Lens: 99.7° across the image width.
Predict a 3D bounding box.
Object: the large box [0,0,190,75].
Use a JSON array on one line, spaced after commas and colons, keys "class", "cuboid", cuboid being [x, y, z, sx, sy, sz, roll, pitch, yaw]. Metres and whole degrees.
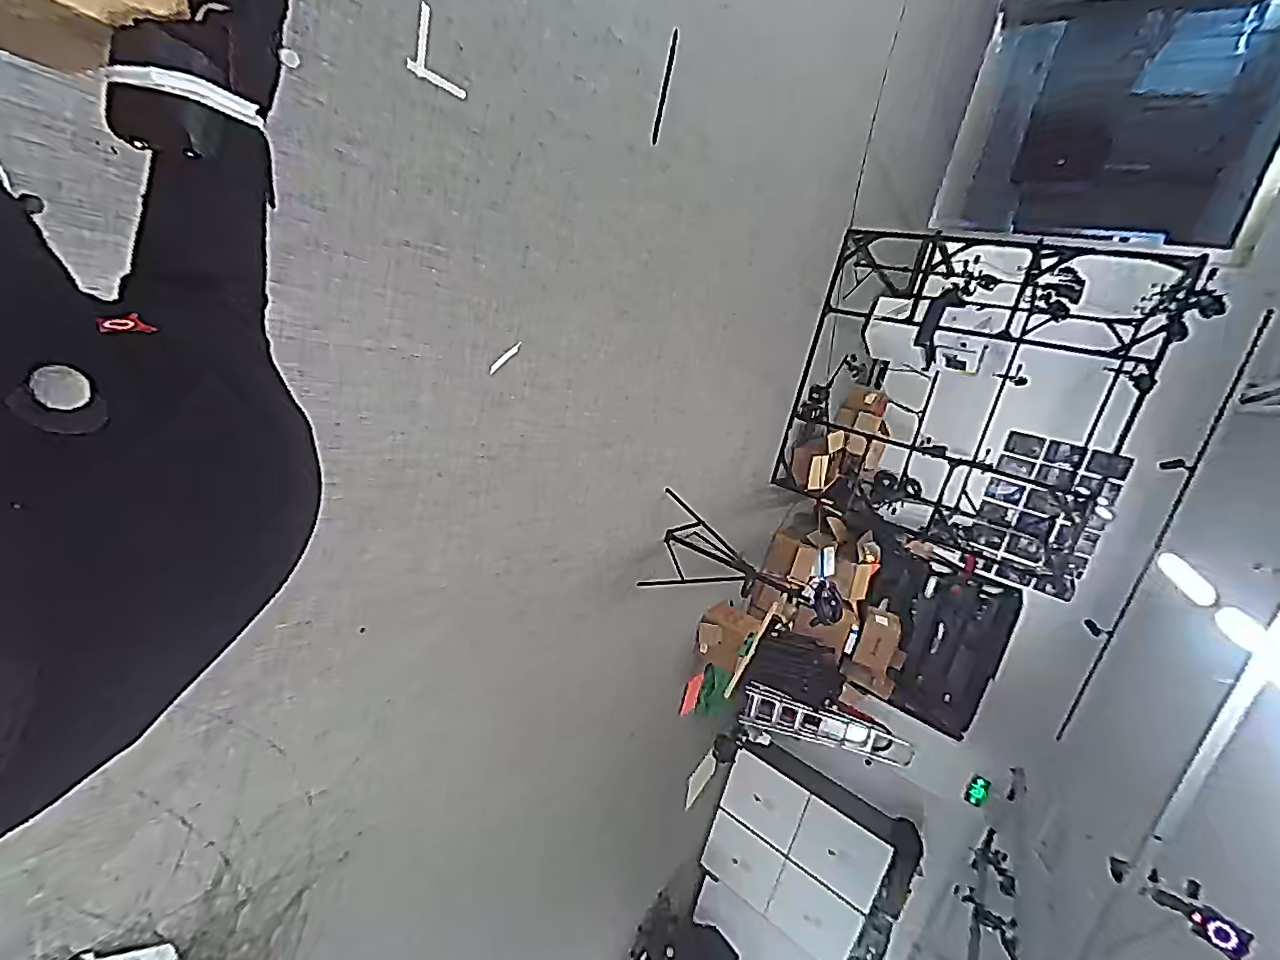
[{"class": "large box", "cuboid": [-0.504, -0.458, 0.242, 0.408, 0.320, 0.320, -8, 118, -56]}]
